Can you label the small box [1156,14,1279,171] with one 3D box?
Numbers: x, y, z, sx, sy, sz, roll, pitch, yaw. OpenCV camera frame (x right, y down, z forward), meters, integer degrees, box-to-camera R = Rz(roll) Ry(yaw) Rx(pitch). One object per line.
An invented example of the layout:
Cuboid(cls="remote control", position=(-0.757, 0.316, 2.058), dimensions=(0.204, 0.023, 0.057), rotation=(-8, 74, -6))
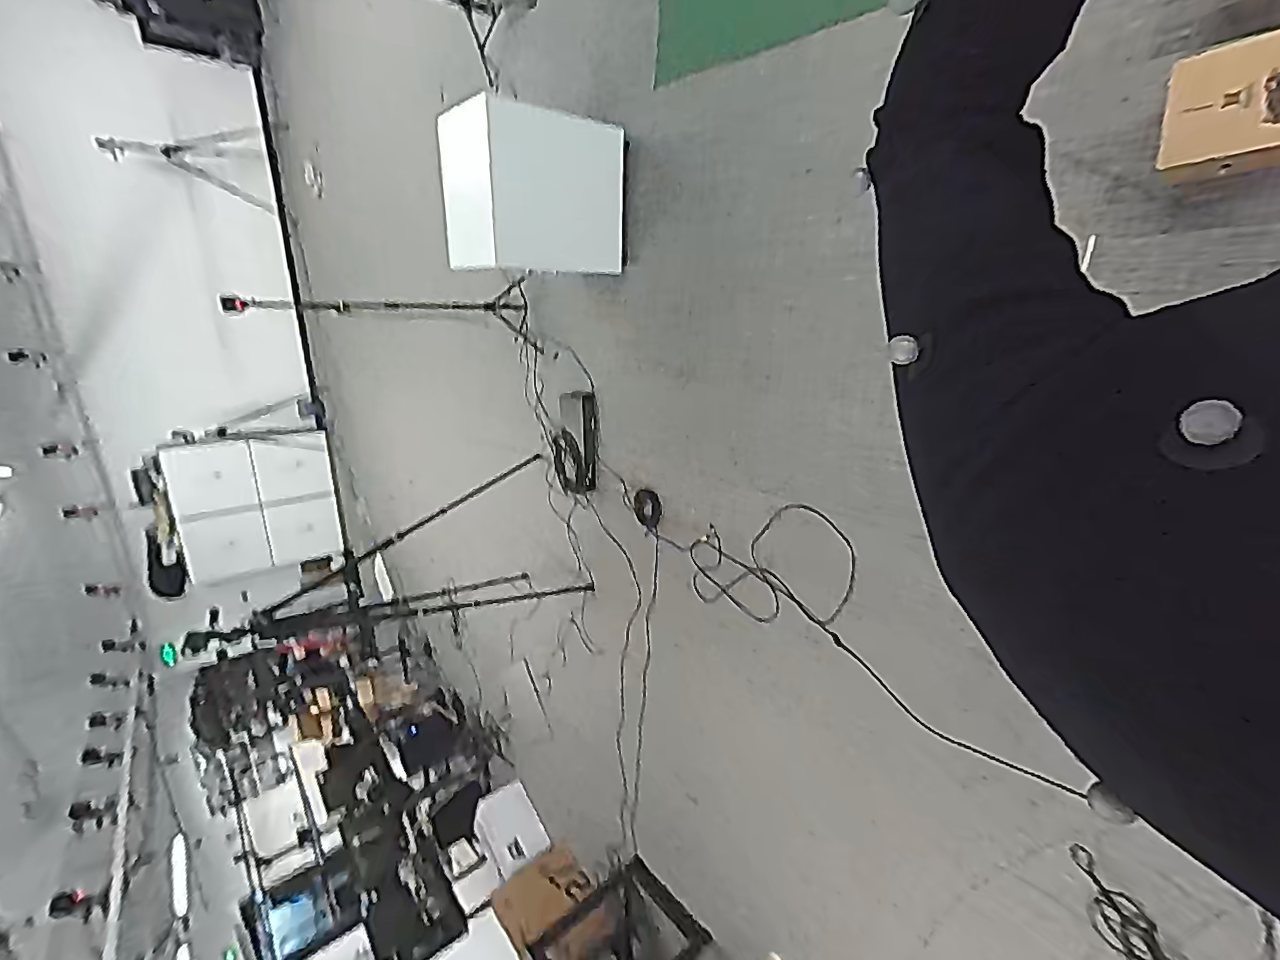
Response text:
Cuboid(cls="small box", position=(0.995, -0.632, 0.889), dimensions=(0.179, 0.176, 0.168), rotation=(13, 111, 49))
